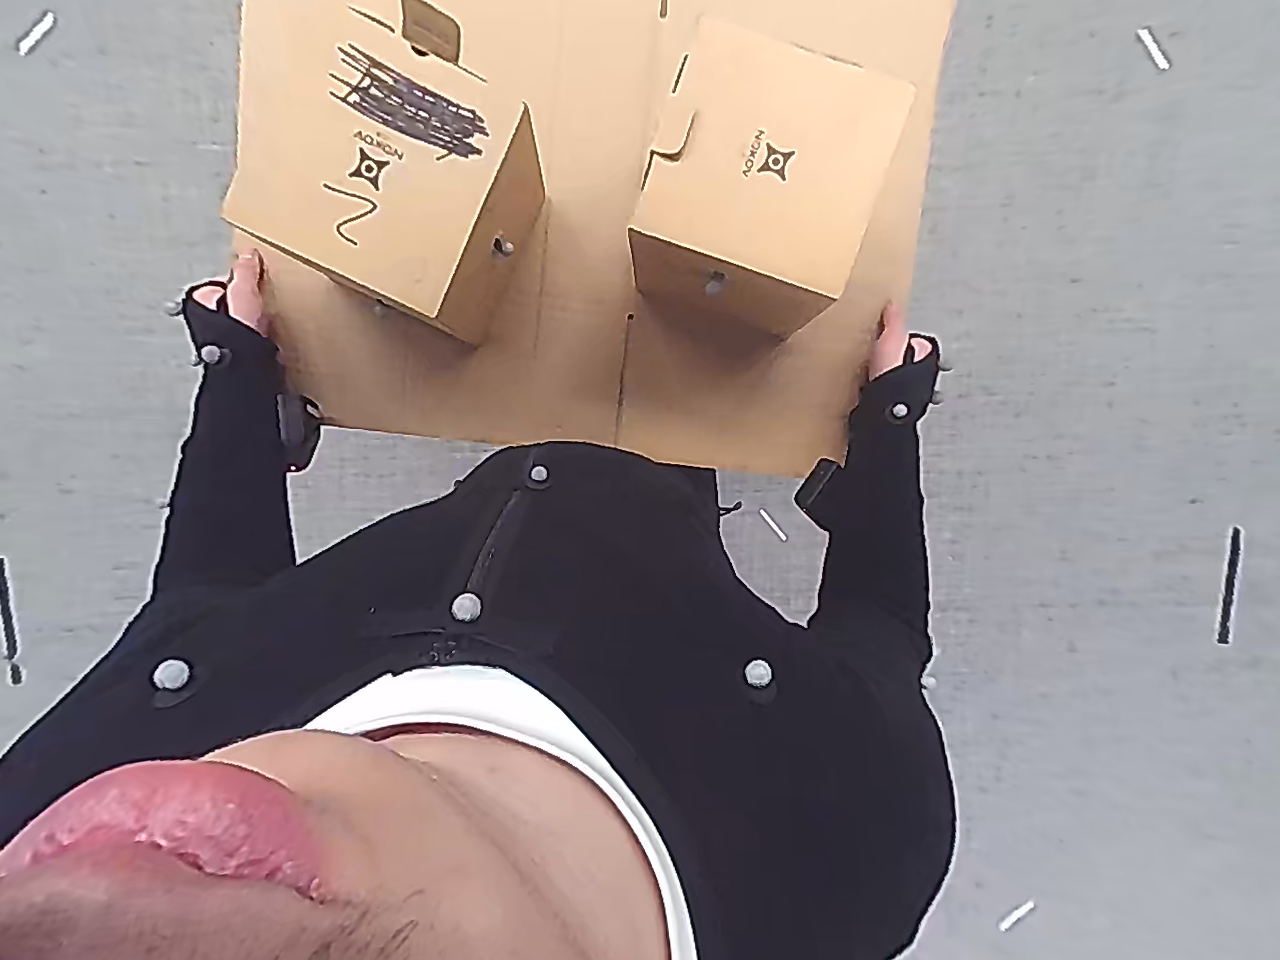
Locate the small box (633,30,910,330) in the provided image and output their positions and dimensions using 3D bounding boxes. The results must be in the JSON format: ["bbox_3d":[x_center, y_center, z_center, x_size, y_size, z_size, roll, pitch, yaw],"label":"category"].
[{"bbox_3d":[0.105,-0.251,0.503,0.179,0.176,0.168,19,95,1],"label":"small box"}]
